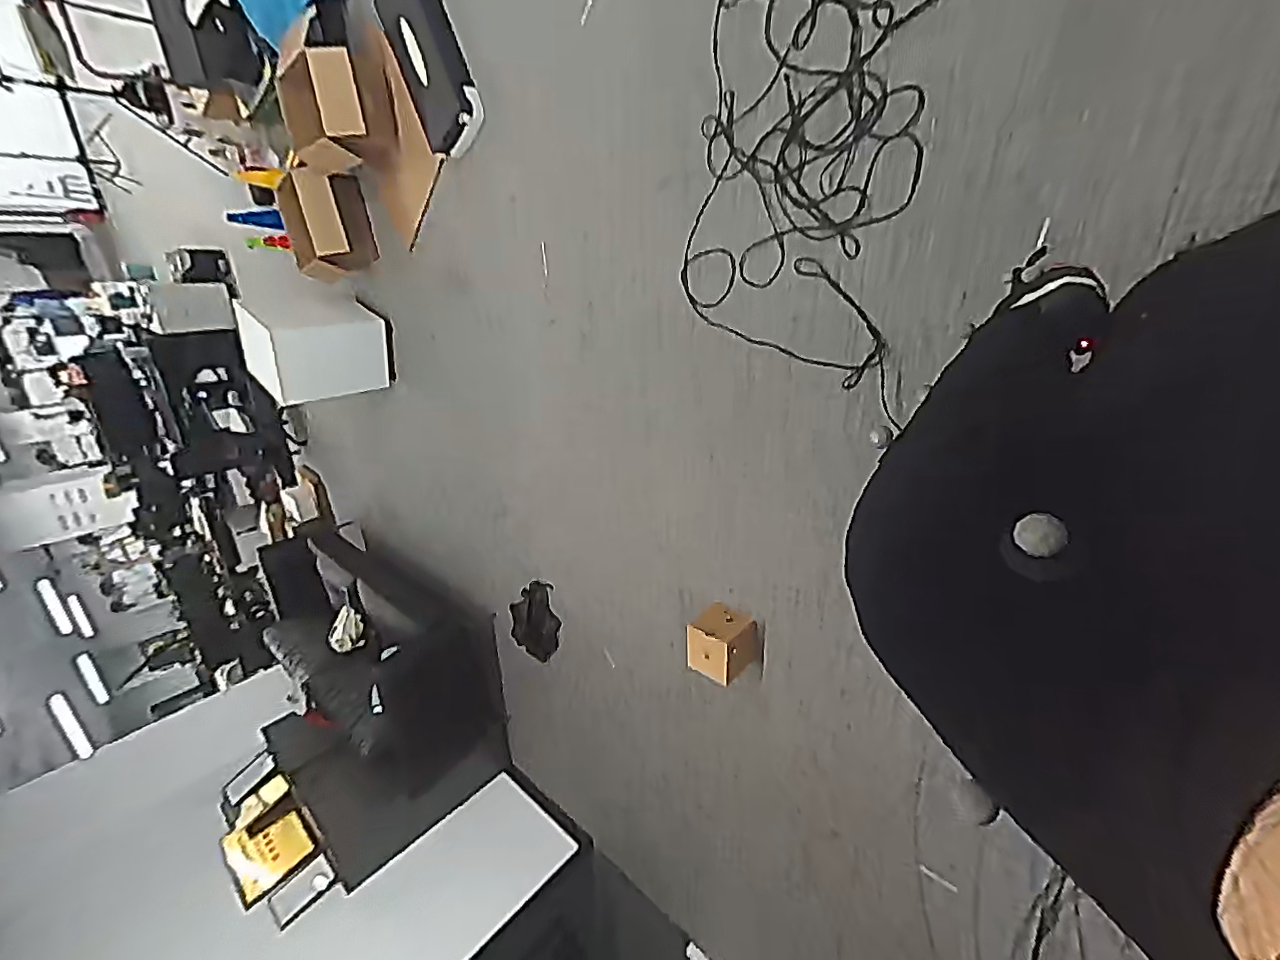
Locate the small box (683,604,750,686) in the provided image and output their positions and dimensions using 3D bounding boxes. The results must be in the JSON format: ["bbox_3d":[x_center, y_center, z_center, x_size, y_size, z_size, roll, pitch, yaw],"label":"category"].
[{"bbox_3d":[0.265,0.558,1.852,0.168,0.176,0.179,16,117,40],"label":"small box"}]
